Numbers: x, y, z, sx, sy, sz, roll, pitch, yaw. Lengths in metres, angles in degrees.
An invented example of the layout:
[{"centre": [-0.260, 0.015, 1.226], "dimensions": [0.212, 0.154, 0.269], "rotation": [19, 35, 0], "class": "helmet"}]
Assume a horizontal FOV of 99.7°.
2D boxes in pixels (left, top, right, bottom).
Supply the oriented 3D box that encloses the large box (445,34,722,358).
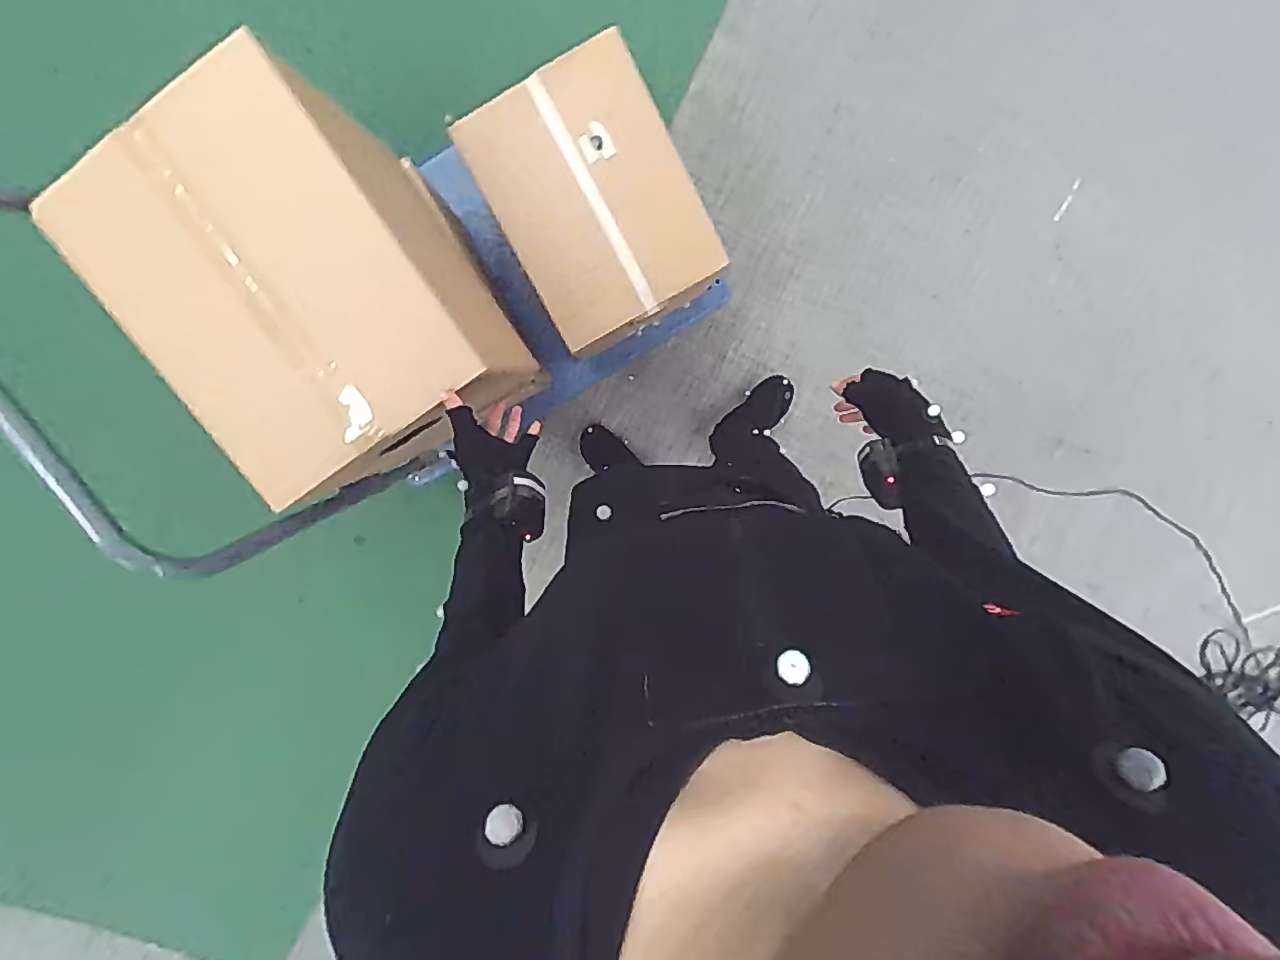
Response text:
[{"centre": [-0.088, -0.488, 1.038], "dimensions": [0.320, 0.320, 0.408], "rotation": [-29, 100, 4], "class": "large box"}]
